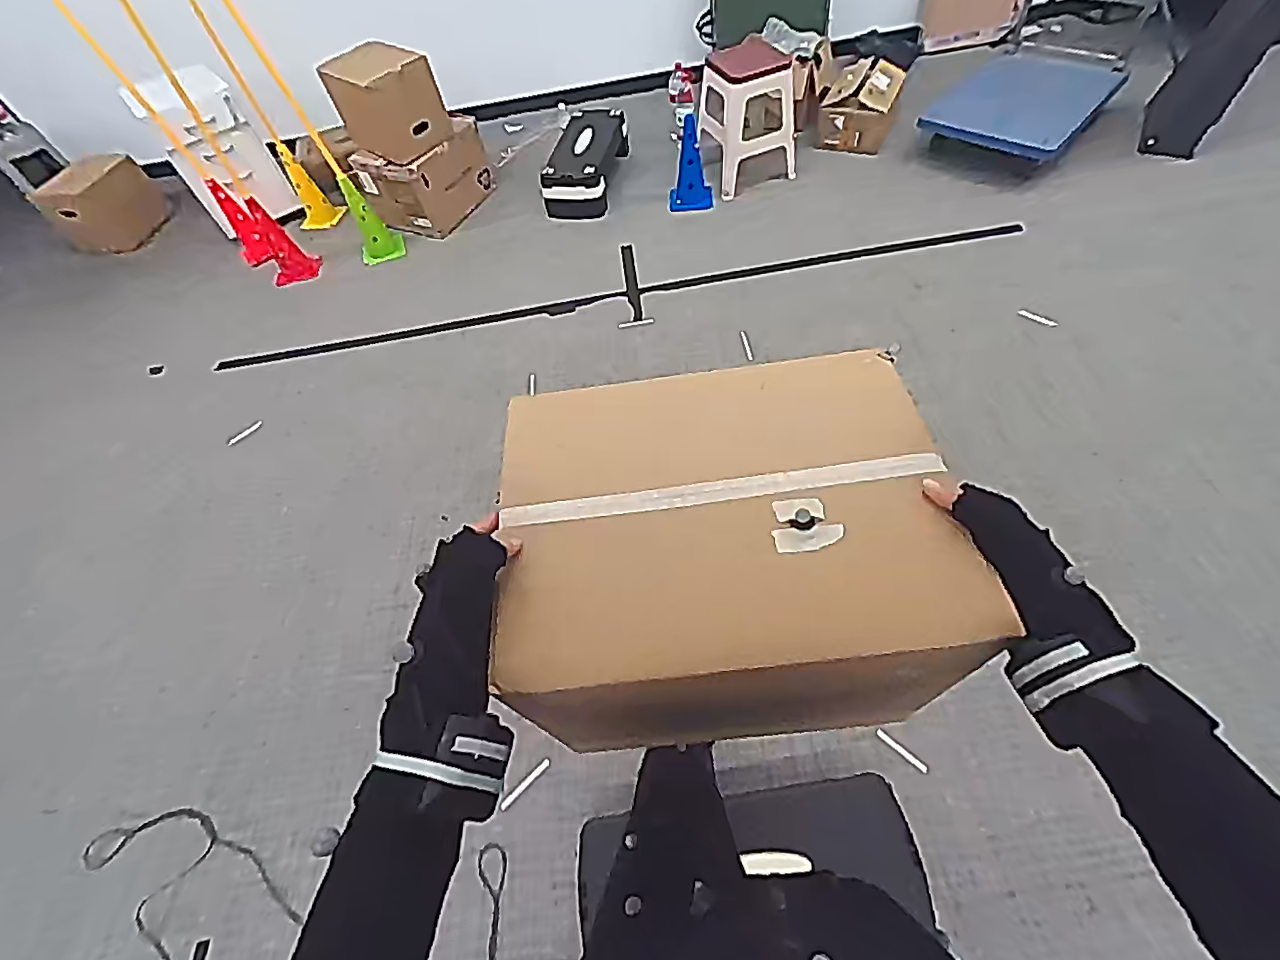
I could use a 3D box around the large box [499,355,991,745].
[{"bbox_3d":[0.083,0.097,0.634,0.408,0.320,0.320,-7,55,3],"label":"large box"}]
